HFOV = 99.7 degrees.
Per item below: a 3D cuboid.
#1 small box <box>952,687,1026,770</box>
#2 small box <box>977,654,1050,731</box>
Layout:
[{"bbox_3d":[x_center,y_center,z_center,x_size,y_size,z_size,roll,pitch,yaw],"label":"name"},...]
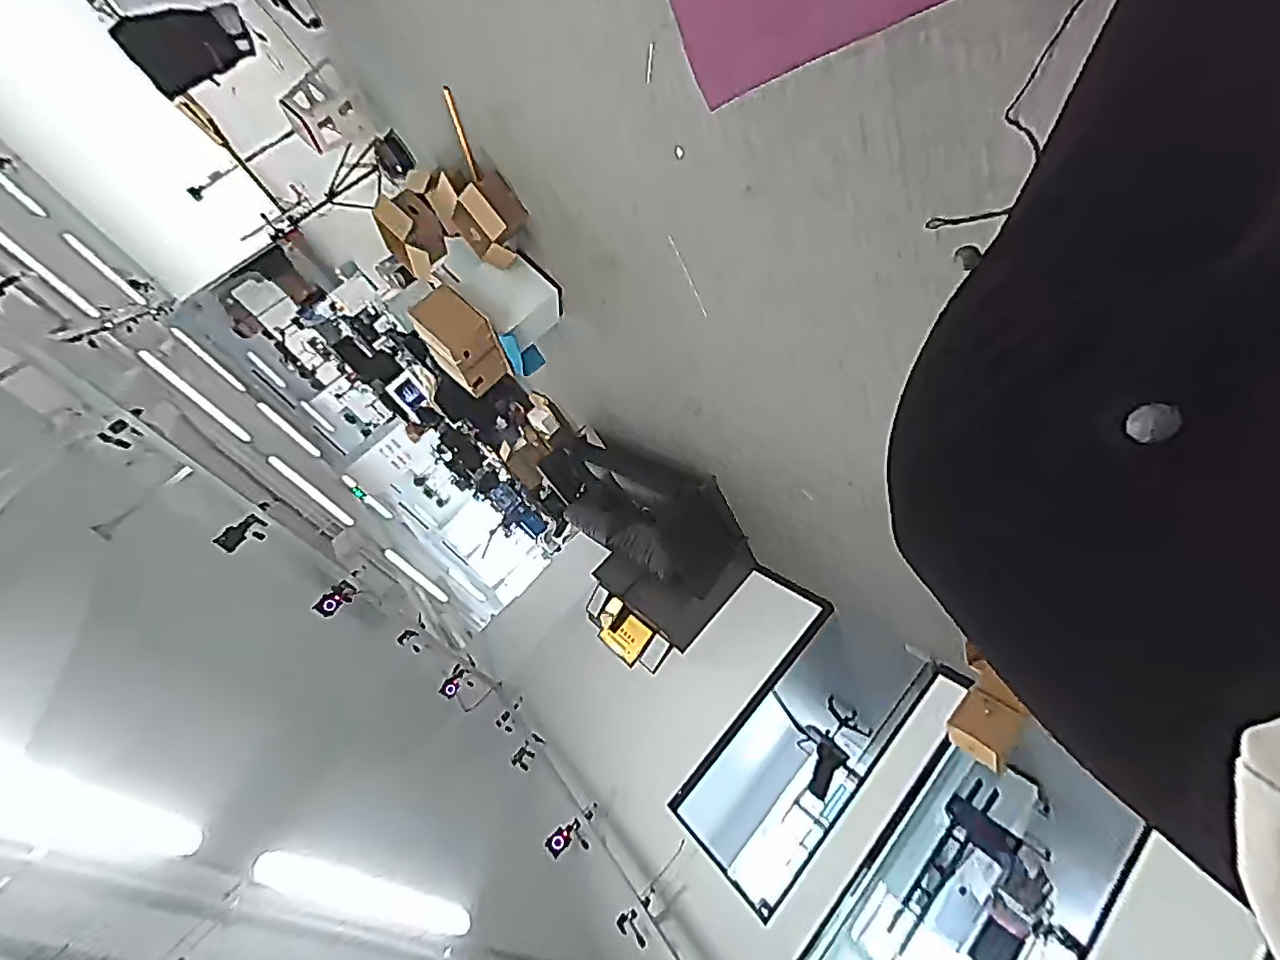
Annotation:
[{"bbox_3d":[1.230,0.870,1.903,0.168,0.176,0.179,27,155,49],"label":"small box"},{"bbox_3d":[1.351,0.771,1.957,0.168,0.176,0.179,29,156,48],"label":"small box"}]
